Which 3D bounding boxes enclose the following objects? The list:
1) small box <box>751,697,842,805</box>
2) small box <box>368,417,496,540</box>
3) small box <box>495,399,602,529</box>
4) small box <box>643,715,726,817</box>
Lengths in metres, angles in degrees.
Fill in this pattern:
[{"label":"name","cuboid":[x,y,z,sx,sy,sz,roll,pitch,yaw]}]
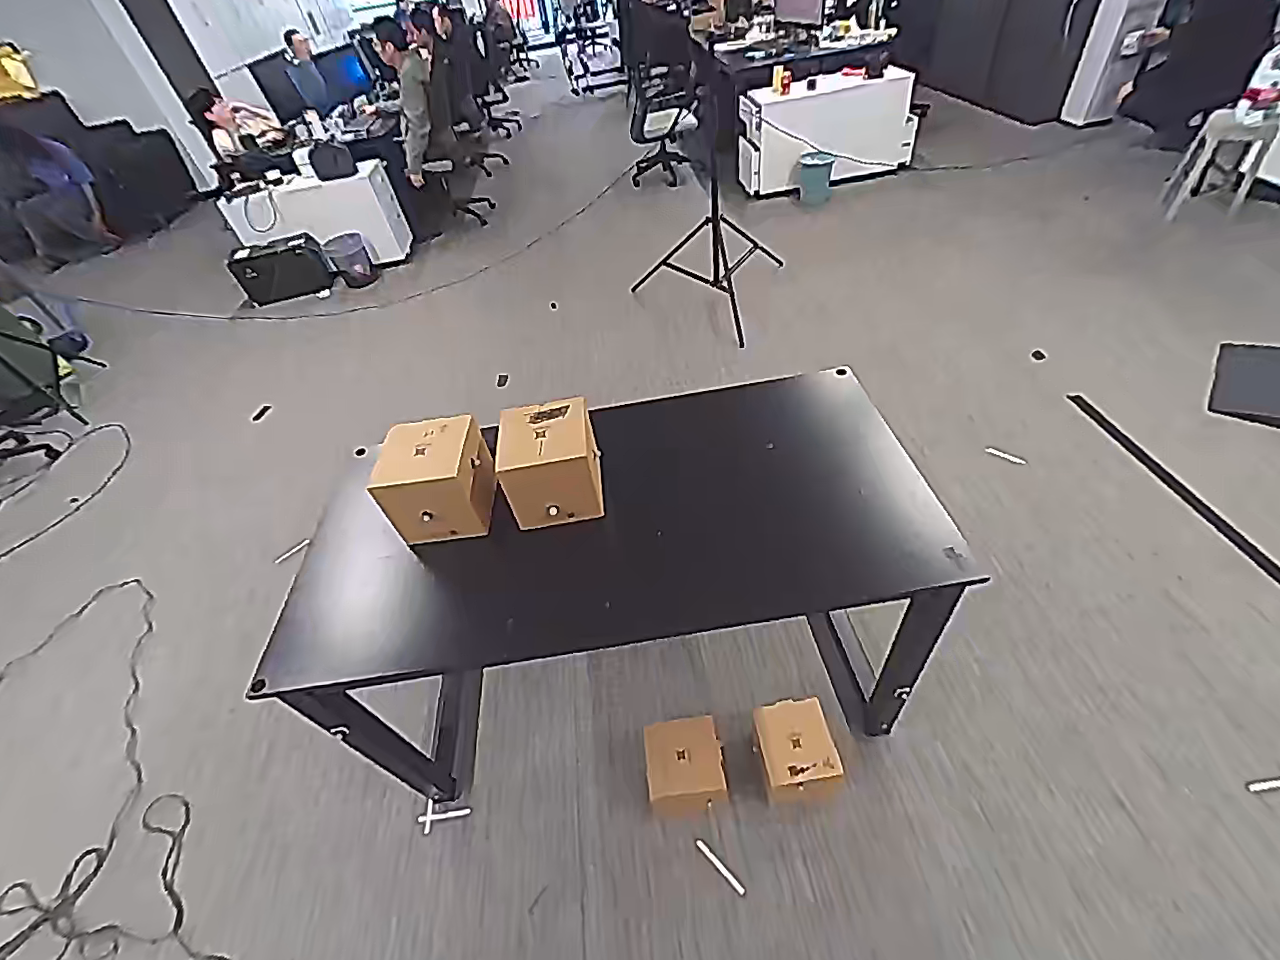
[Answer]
[{"label":"small box","cuboid":[0.369,0.655,1.307,0.168,0.176,0.179,-11,45,1]},{"label":"small box","cuboid":[-0.394,0.003,1.061,0.168,0.176,0.179,-7,45,3]},{"label":"small box","cuboid":[-0.172,-0.030,1.052,0.168,0.176,0.179,-10,46,0]},{"label":"small box","cuboid":[0.110,0.698,1.318,0.179,0.176,0.168,-11,44,2]}]
